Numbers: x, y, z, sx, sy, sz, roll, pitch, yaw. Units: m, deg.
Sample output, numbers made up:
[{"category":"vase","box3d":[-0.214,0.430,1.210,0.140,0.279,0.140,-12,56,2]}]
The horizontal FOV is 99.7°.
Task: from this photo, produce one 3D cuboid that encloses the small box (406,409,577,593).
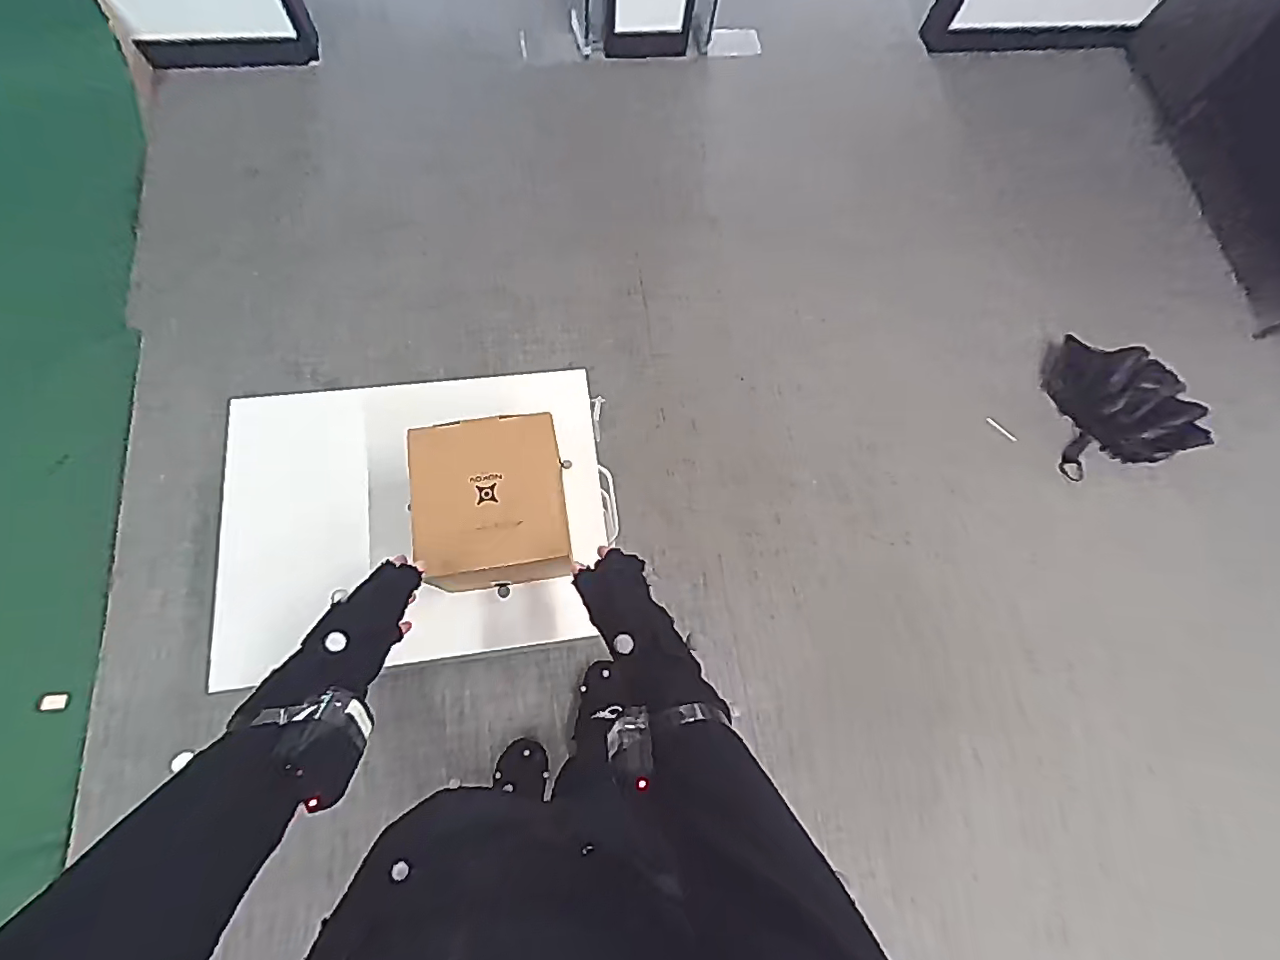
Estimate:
[{"category":"small box","box3d":[-0.172,0.034,0.665,0.168,0.176,0.179,-9,75,-6]}]
